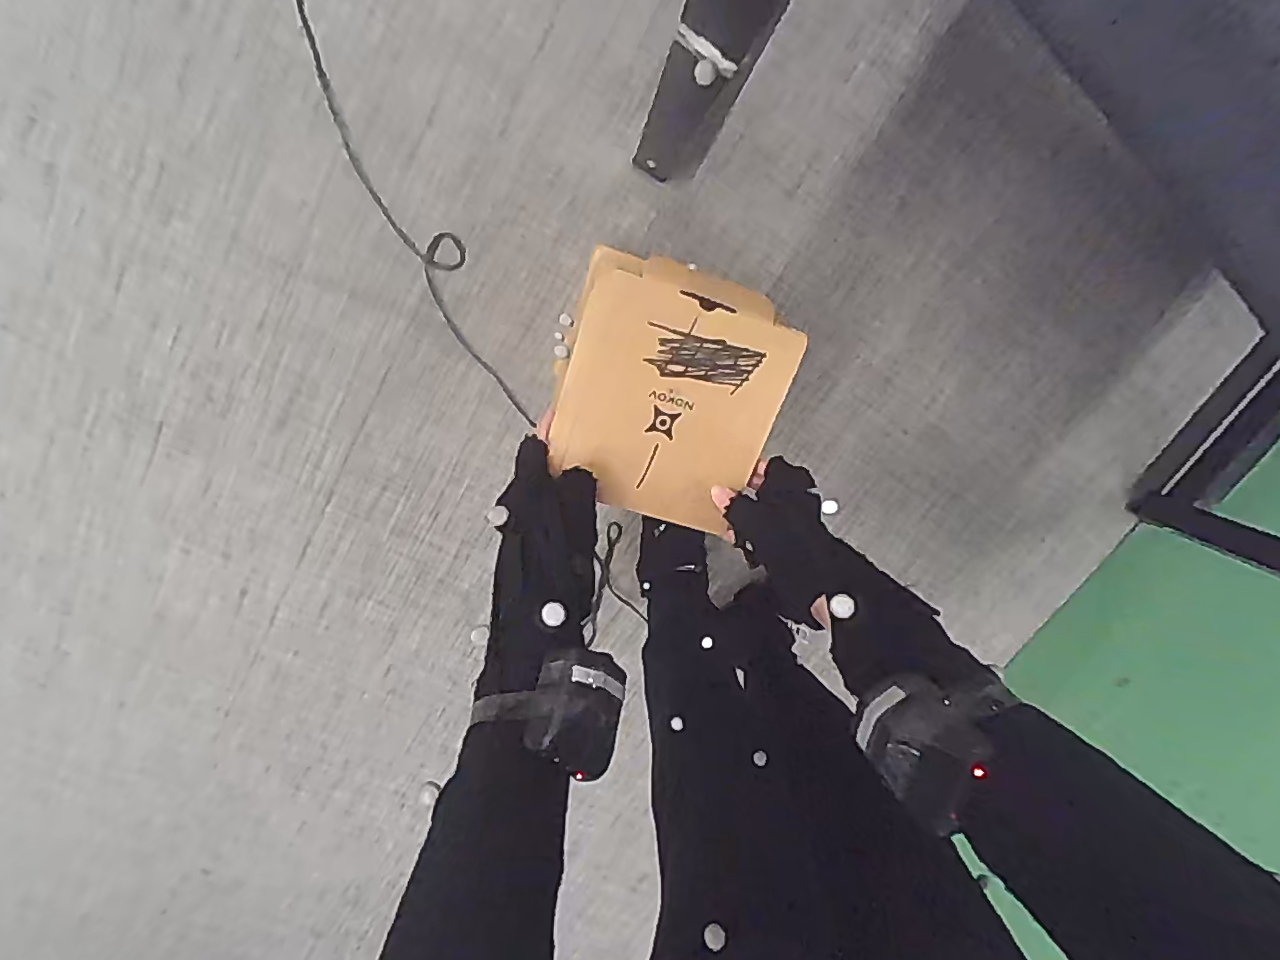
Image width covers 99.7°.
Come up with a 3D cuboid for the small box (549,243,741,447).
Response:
[{"bbox_3d":[0.000,-0.160,0.635,0.168,0.176,0.179,13,108,-8],"label":"small box"}]
